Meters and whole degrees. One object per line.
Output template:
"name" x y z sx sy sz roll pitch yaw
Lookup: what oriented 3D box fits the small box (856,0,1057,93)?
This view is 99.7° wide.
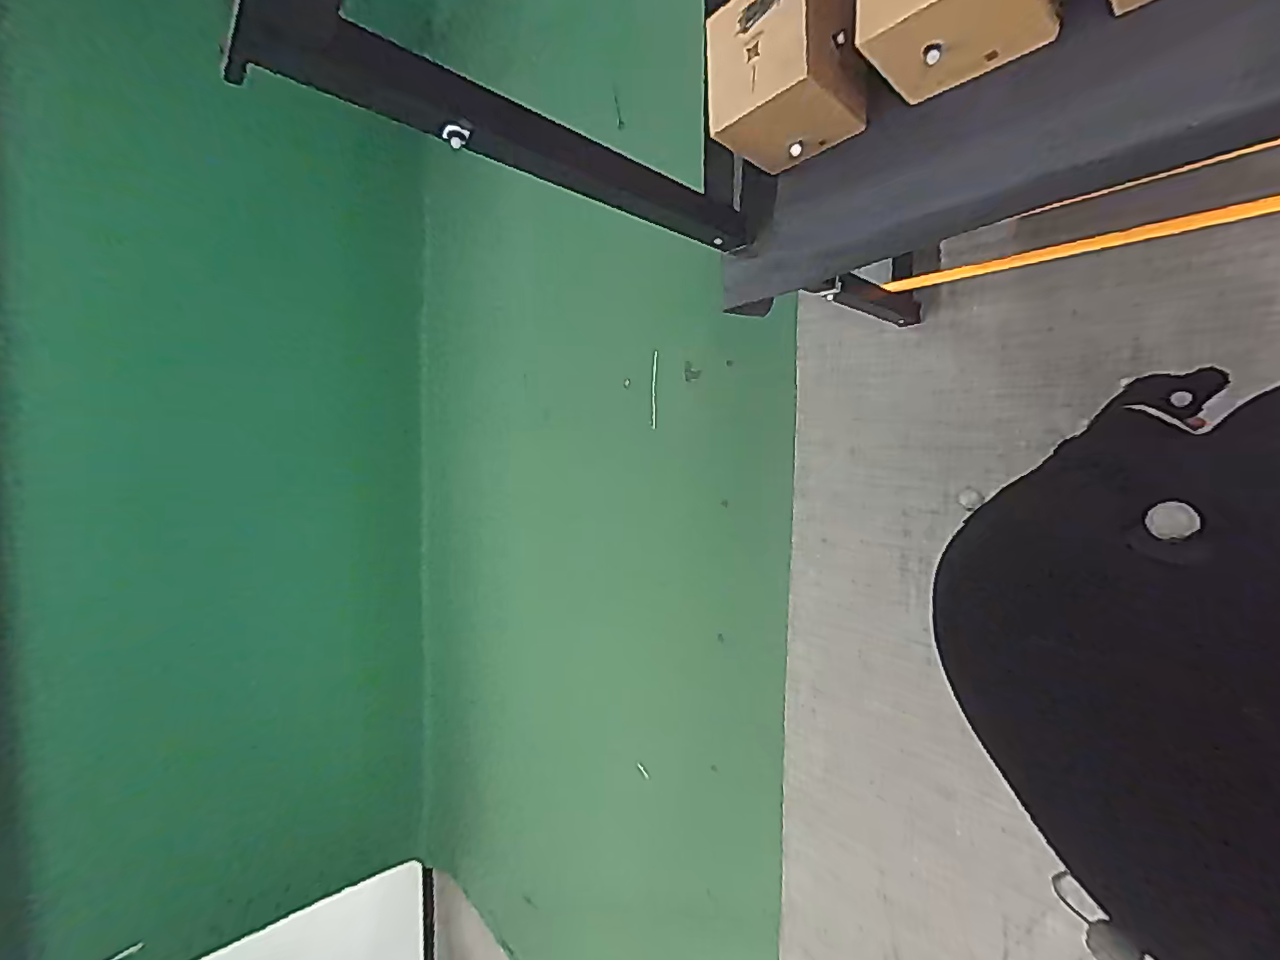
"small box" 0.372 -0.598 0.633 0.168 0.176 0.179 3 93 48

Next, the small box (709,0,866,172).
"small box" 0.219 -0.600 0.800 0.168 0.176 0.179 -1 91 48
